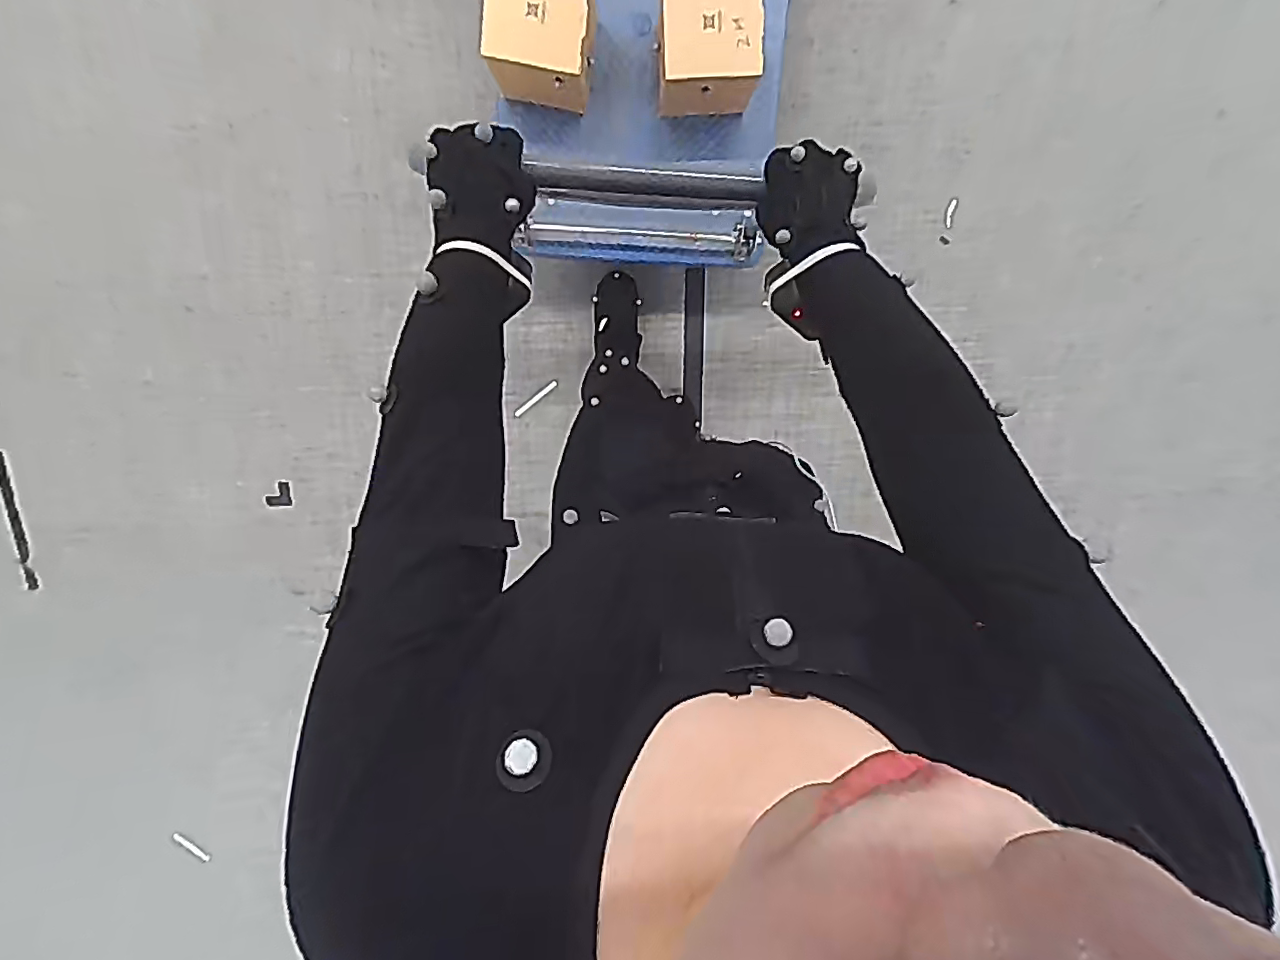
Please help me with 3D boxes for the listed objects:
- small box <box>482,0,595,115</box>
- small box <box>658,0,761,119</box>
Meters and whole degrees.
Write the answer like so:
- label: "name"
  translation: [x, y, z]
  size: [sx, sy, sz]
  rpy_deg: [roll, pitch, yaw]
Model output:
- label: "small box"
  translation: [-0.182, -0.814, 1.008]
  size: [0.179, 0.176, 0.168]
  rpy_deg: [8, 104, -5]
- label: "small box"
  translation: [0.124, -0.803, 1.018]
  size: [0.179, 0.176, 0.168]
  rpy_deg: [-3, 105, 0]
